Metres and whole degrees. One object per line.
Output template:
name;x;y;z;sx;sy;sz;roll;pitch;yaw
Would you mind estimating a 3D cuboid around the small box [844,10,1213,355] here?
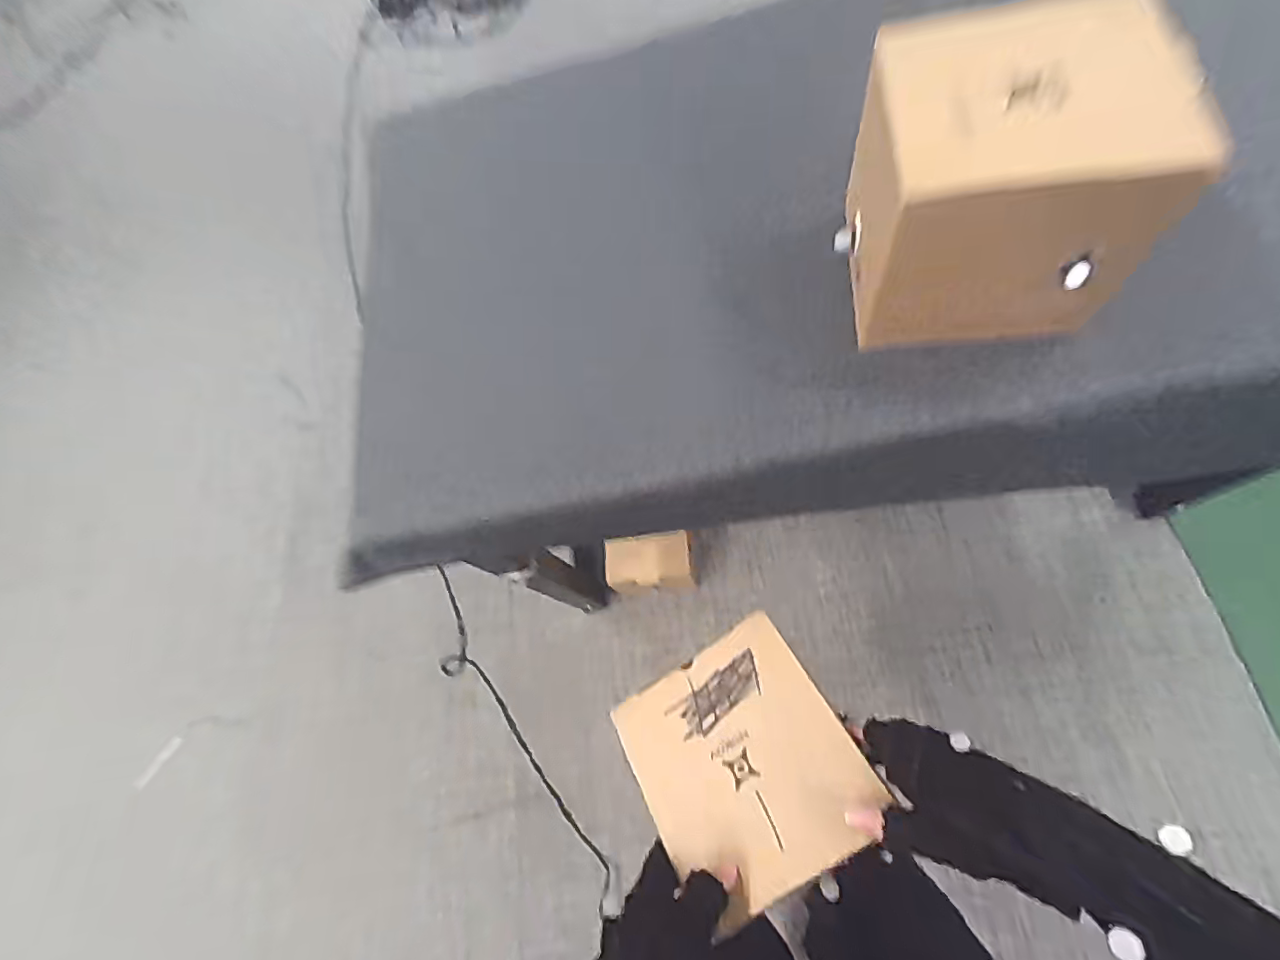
small box;0.276;-0.220;0.438;0.179;0.176;0.168;-2;67;12
